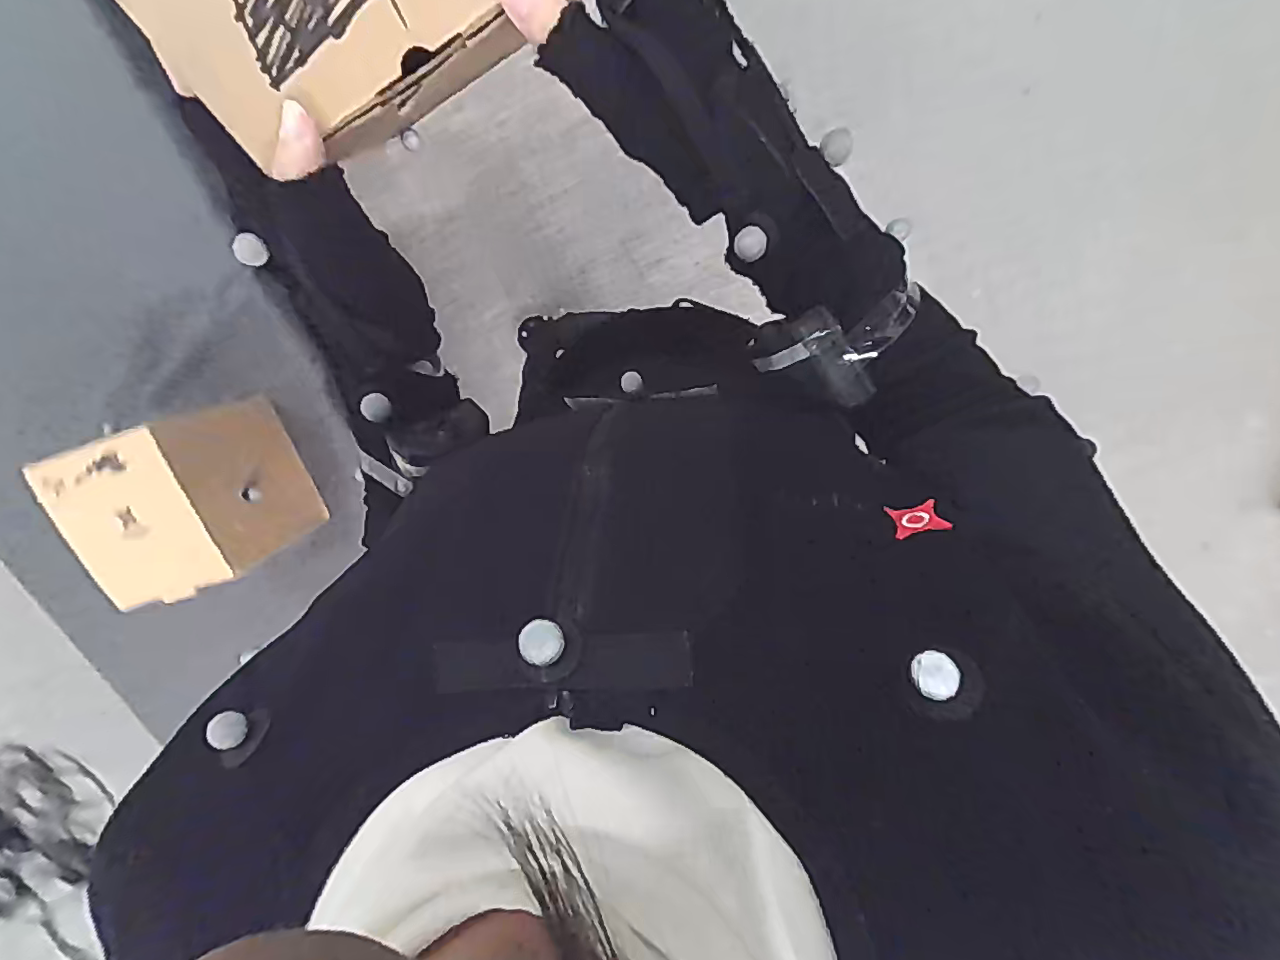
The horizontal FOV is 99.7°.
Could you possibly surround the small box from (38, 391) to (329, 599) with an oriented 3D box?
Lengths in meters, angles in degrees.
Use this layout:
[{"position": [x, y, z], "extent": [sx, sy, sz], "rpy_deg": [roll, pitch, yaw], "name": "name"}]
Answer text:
[{"position": [-0.527, 0.011, 0.655], "extent": [0.168, 0.176, 0.179], "rpy_deg": [-19, 106, 13], "name": "small box"}]
